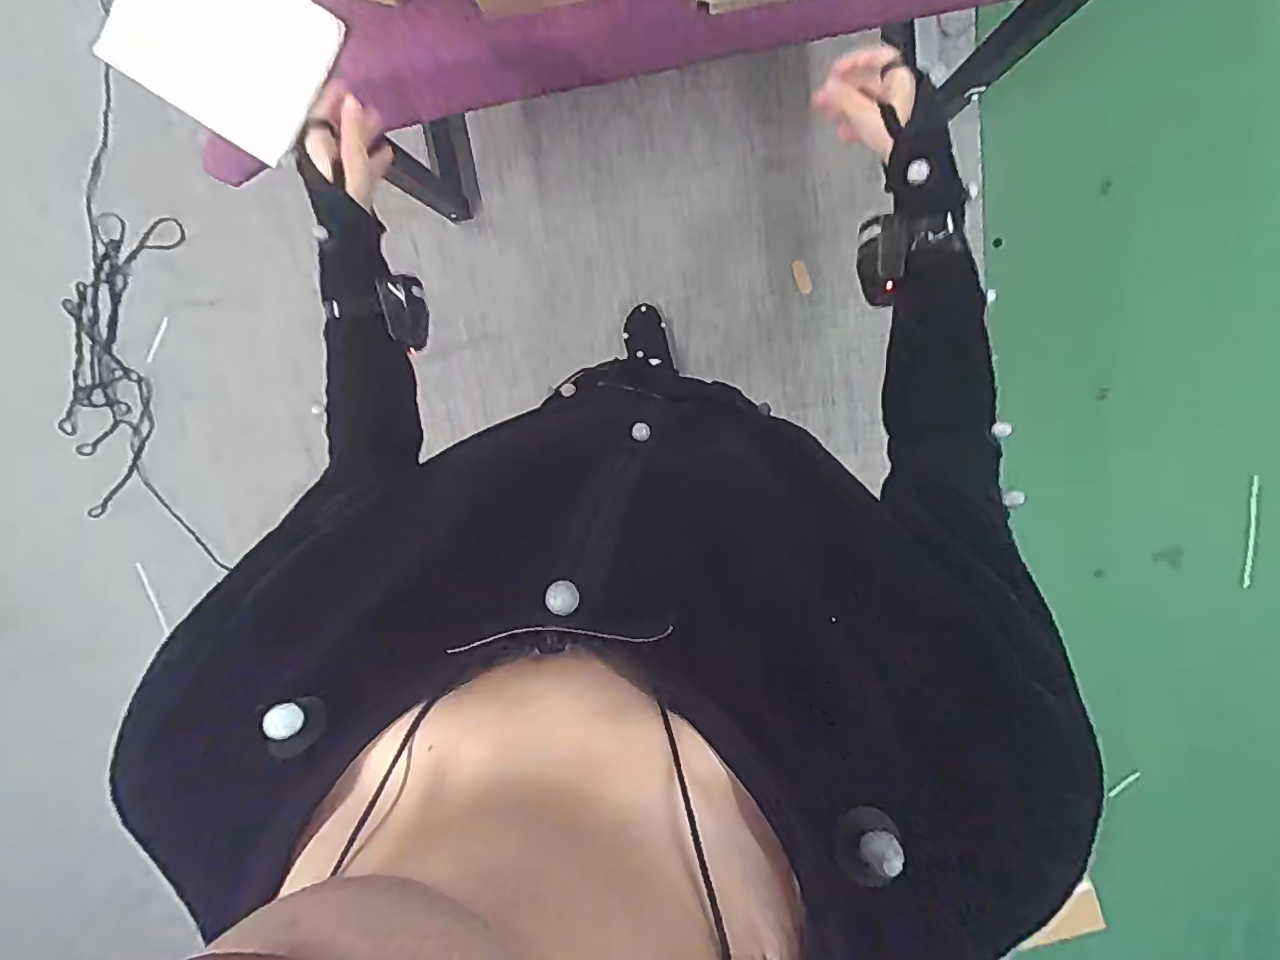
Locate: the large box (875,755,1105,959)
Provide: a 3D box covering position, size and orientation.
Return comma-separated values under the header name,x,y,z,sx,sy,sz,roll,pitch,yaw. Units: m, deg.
name,x,y,z,sx,sy,sz,roll,pitch,yaw
large box,0.955,1.061,1.526,0.408,0.320,0.320,-23,100,7
